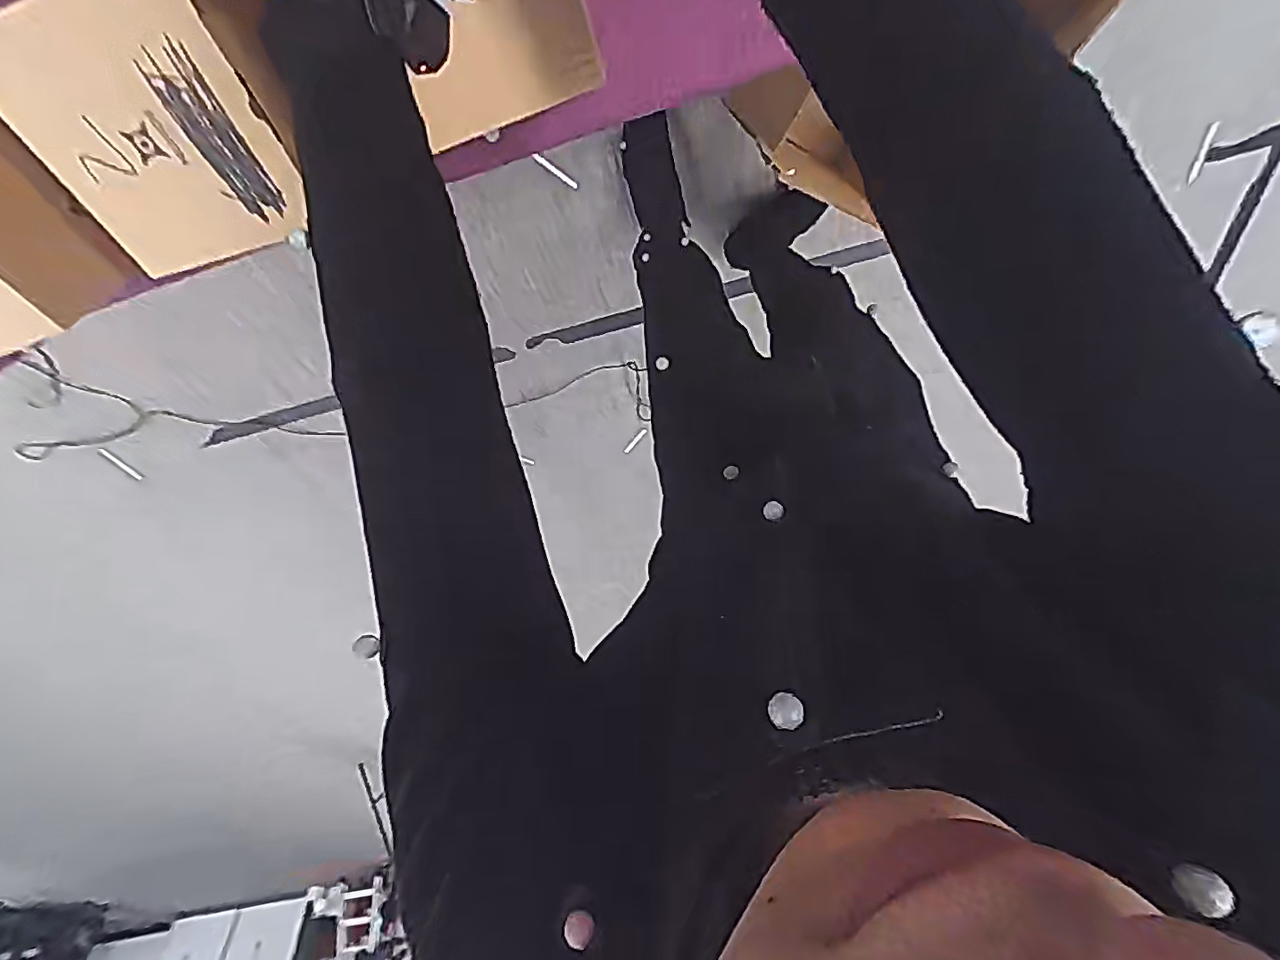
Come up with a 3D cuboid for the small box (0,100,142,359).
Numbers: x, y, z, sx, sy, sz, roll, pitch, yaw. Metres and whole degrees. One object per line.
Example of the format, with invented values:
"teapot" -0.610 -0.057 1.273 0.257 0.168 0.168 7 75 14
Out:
"small box" -0.621 -0.212 0.483 0.179 0.176 0.168 -16 136 7
